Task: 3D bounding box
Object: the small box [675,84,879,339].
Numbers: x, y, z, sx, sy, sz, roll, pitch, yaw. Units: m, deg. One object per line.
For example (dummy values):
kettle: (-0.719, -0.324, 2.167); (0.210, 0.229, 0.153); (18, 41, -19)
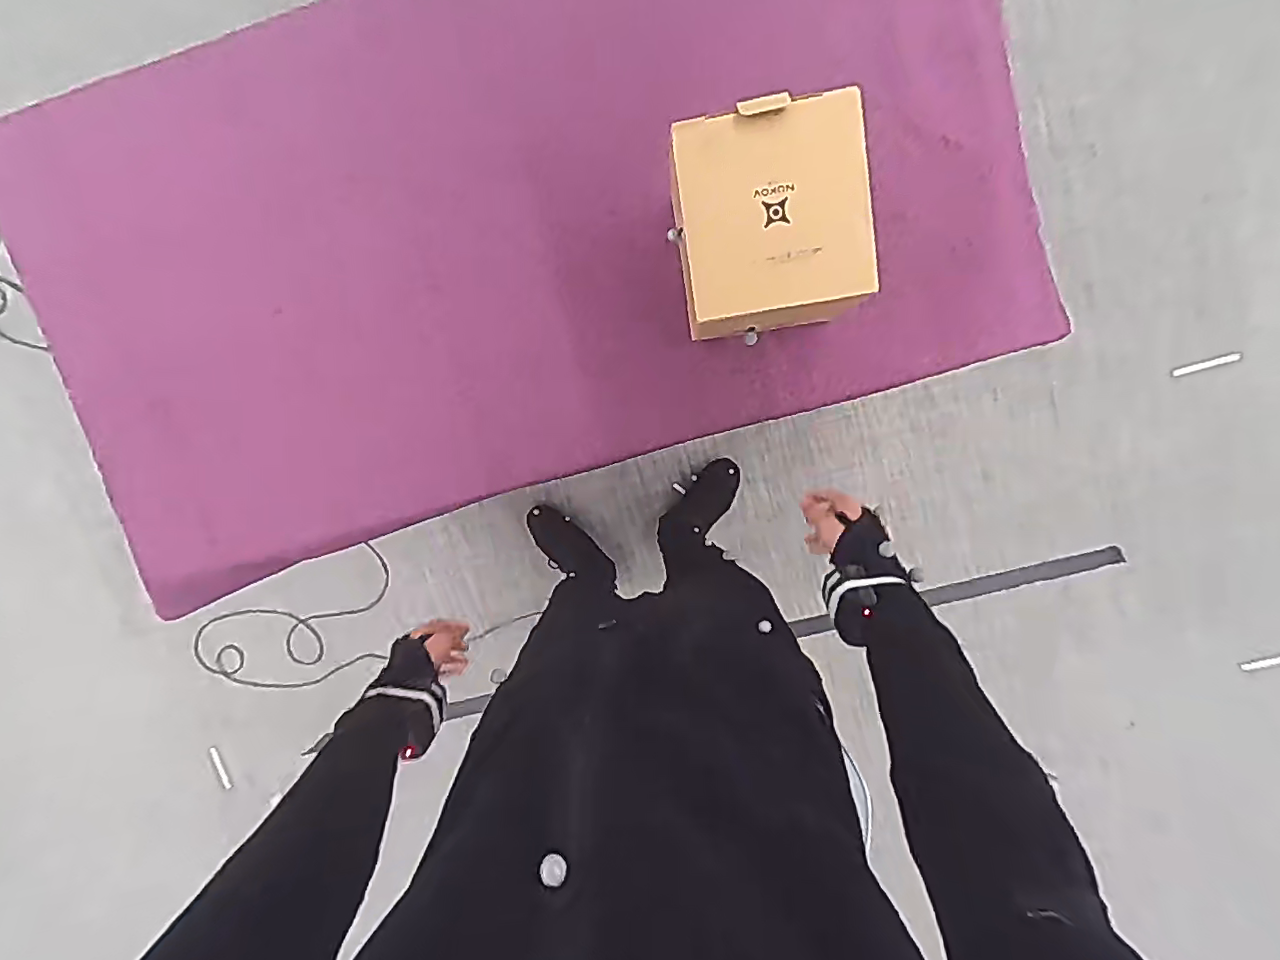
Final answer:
small box: (0.125, -0.251, 0.550); (0.168, 0.176, 0.179); (-7, 98, 5)
